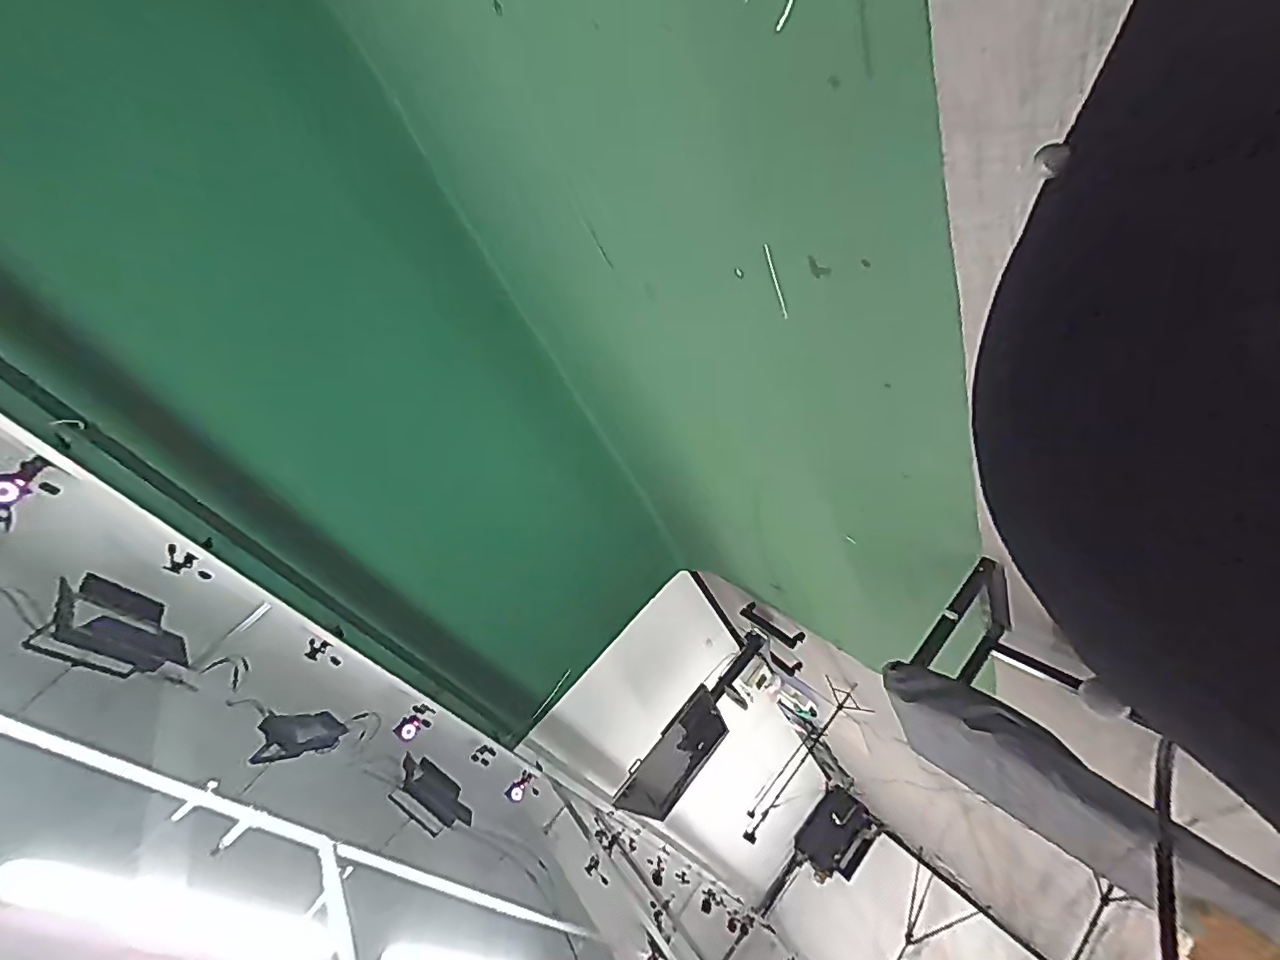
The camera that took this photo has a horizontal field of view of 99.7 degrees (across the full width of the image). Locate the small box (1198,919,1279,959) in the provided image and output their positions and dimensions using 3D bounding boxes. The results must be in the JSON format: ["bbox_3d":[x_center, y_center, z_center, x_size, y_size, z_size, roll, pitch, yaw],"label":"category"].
[{"bbox_3d":[1.610,1.325,1.429,0.179,0.176,0.168,24,153,54],"label":"small box"}]
